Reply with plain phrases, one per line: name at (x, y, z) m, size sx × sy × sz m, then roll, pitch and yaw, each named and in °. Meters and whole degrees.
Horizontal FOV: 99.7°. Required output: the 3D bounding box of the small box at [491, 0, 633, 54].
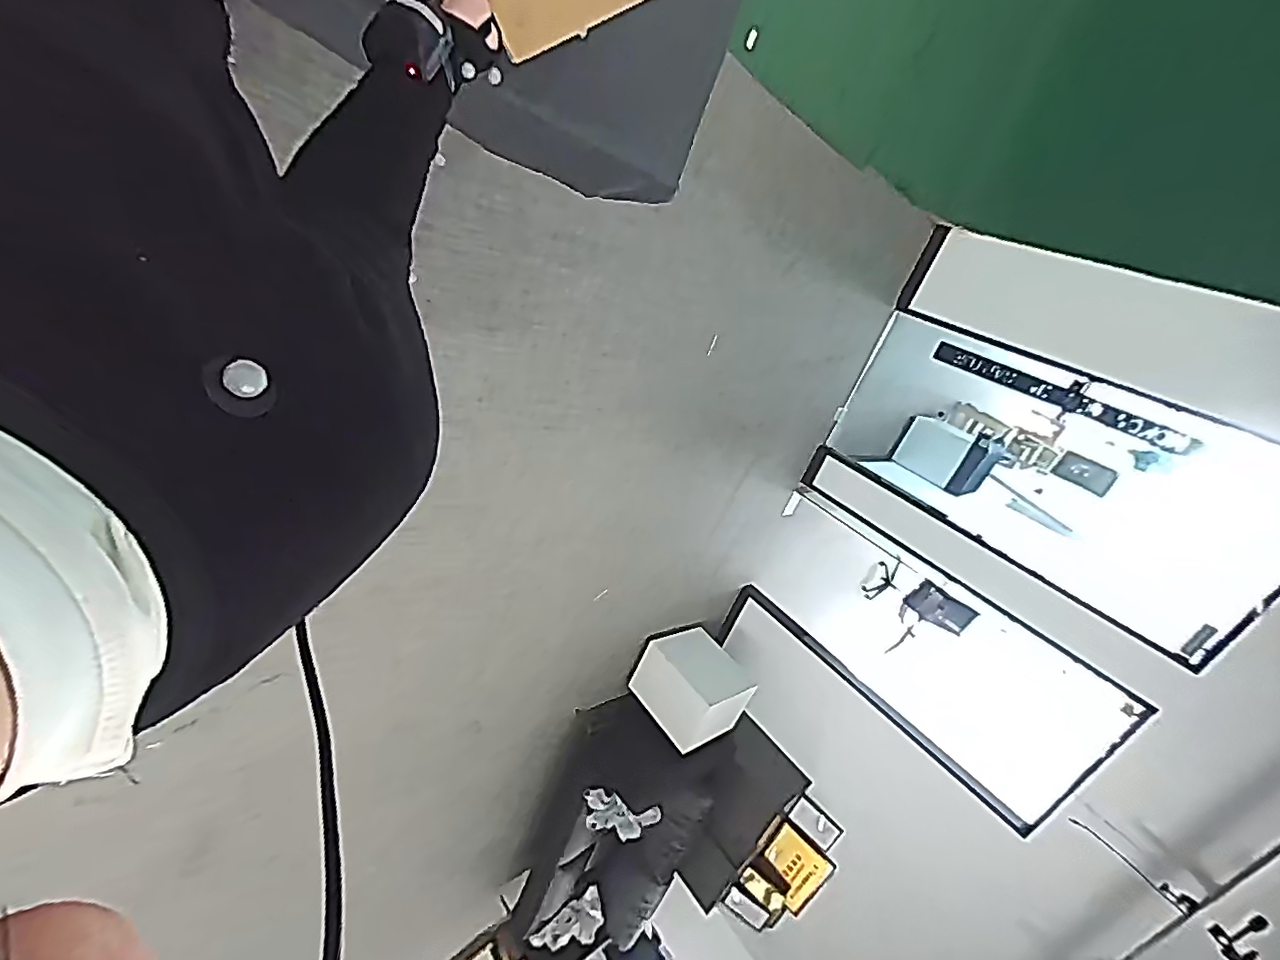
small box at (-0.091, -0.597, 0.561) m, size 0.179 × 0.176 × 0.168 m, roll -18°, pitch 144°, yaw 11°
